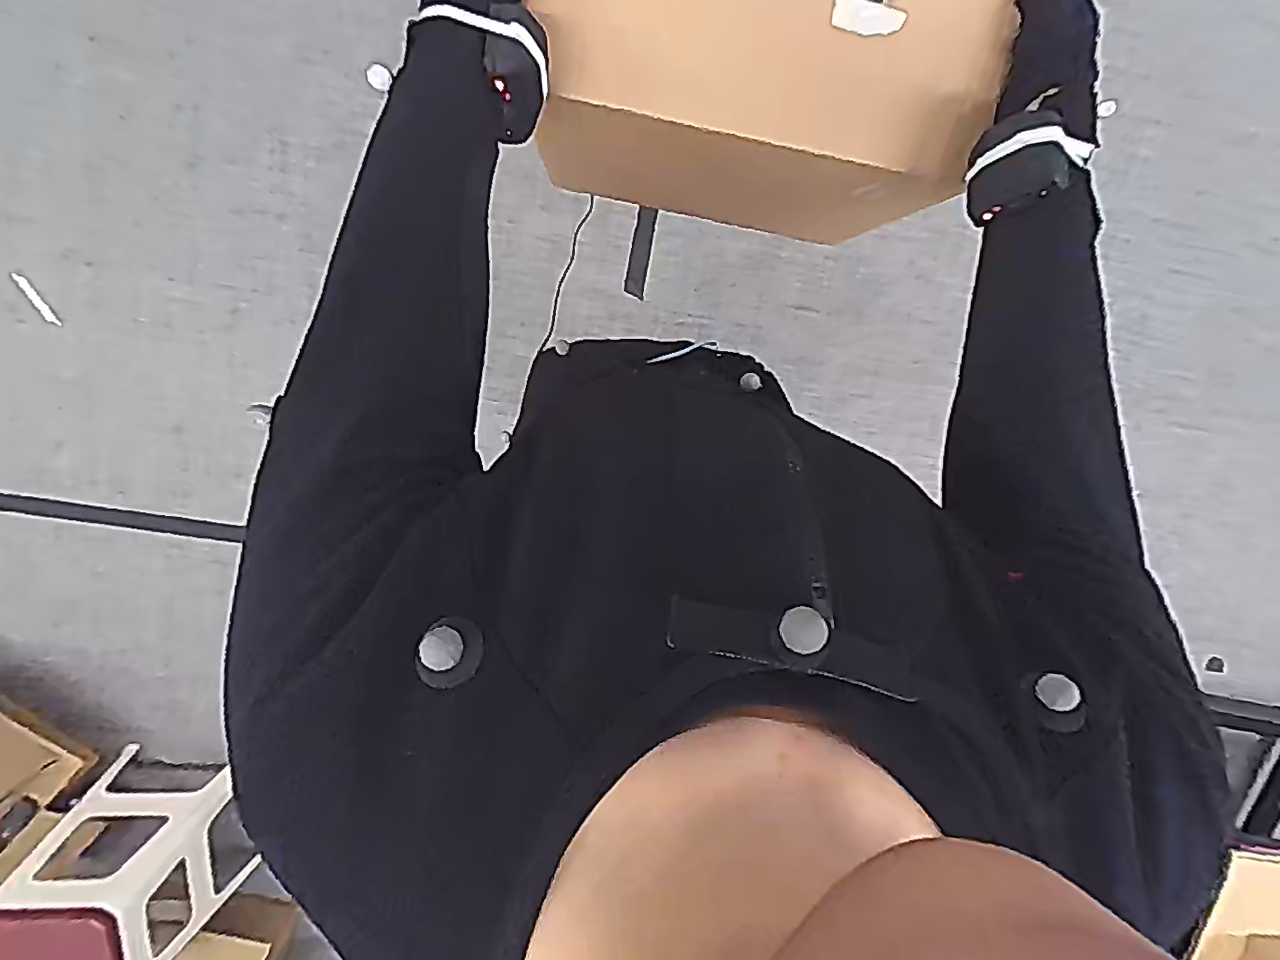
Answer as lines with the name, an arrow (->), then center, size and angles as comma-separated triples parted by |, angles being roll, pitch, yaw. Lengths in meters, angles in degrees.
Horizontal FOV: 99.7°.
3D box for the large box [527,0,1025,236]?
large box -> 0.115, -0.479, 0.566 | 0.408, 0.320, 0.320 | 9, 105, -6
